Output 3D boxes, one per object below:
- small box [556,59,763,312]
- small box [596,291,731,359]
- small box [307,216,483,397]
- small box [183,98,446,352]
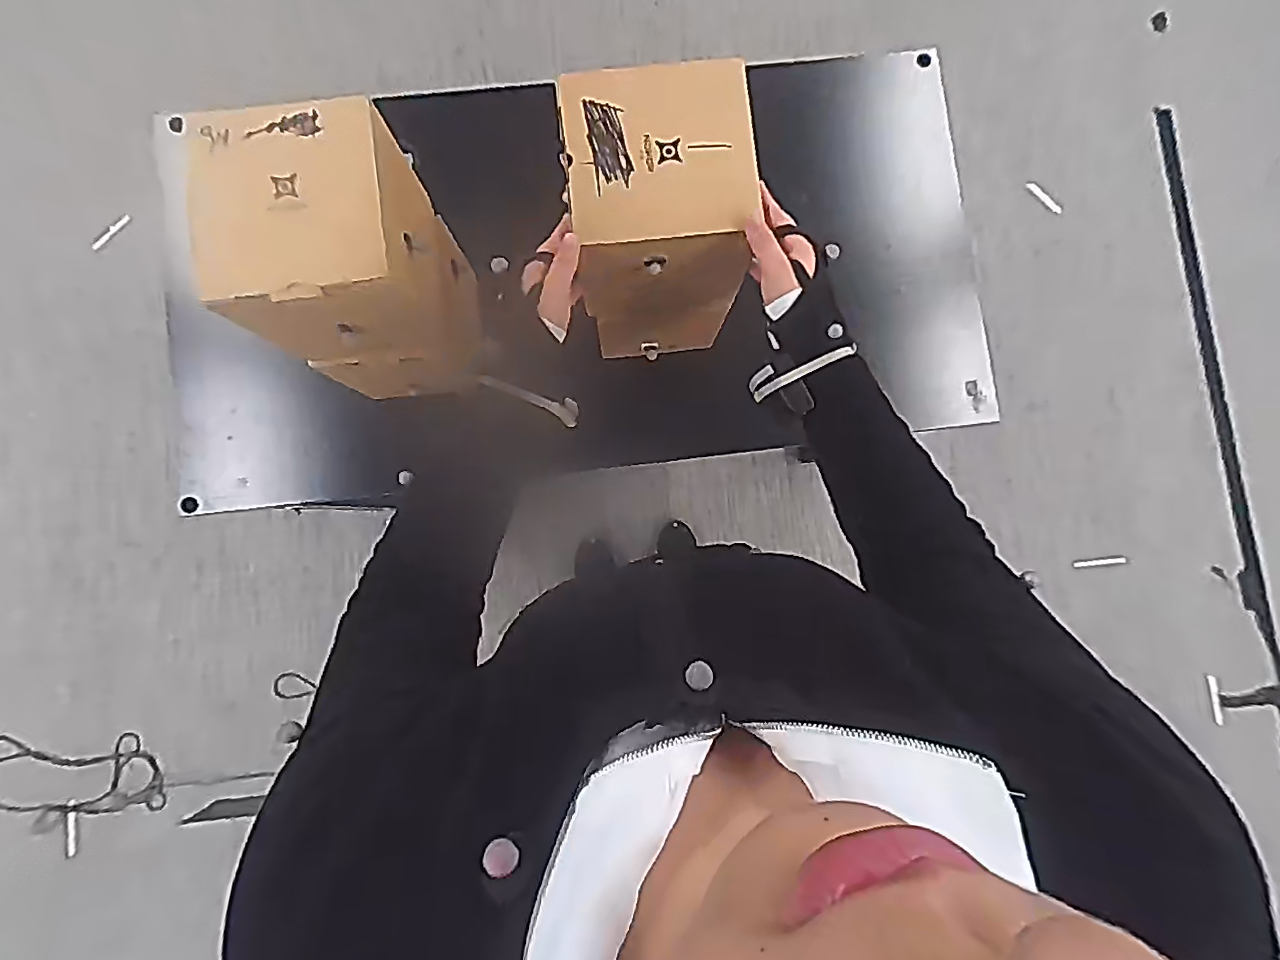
[{"bbox_3d":[0.017,-0.289,0.567,0.179,0.176,0.168,-6,86,-2],"label":"small box"},{"bbox_3d":[0.017,-0.281,0.735,0.168,0.176,0.179,-8,87,-1],"label":"small box"},{"bbox_3d":[-0.314,-0.219,0.716,0.168,0.176,0.179,-5,86,-2],"label":"small box"},{"bbox_3d":[-0.312,-0.240,0.553,0.168,0.176,0.179,-8,87,-3],"label":"small box"}]
